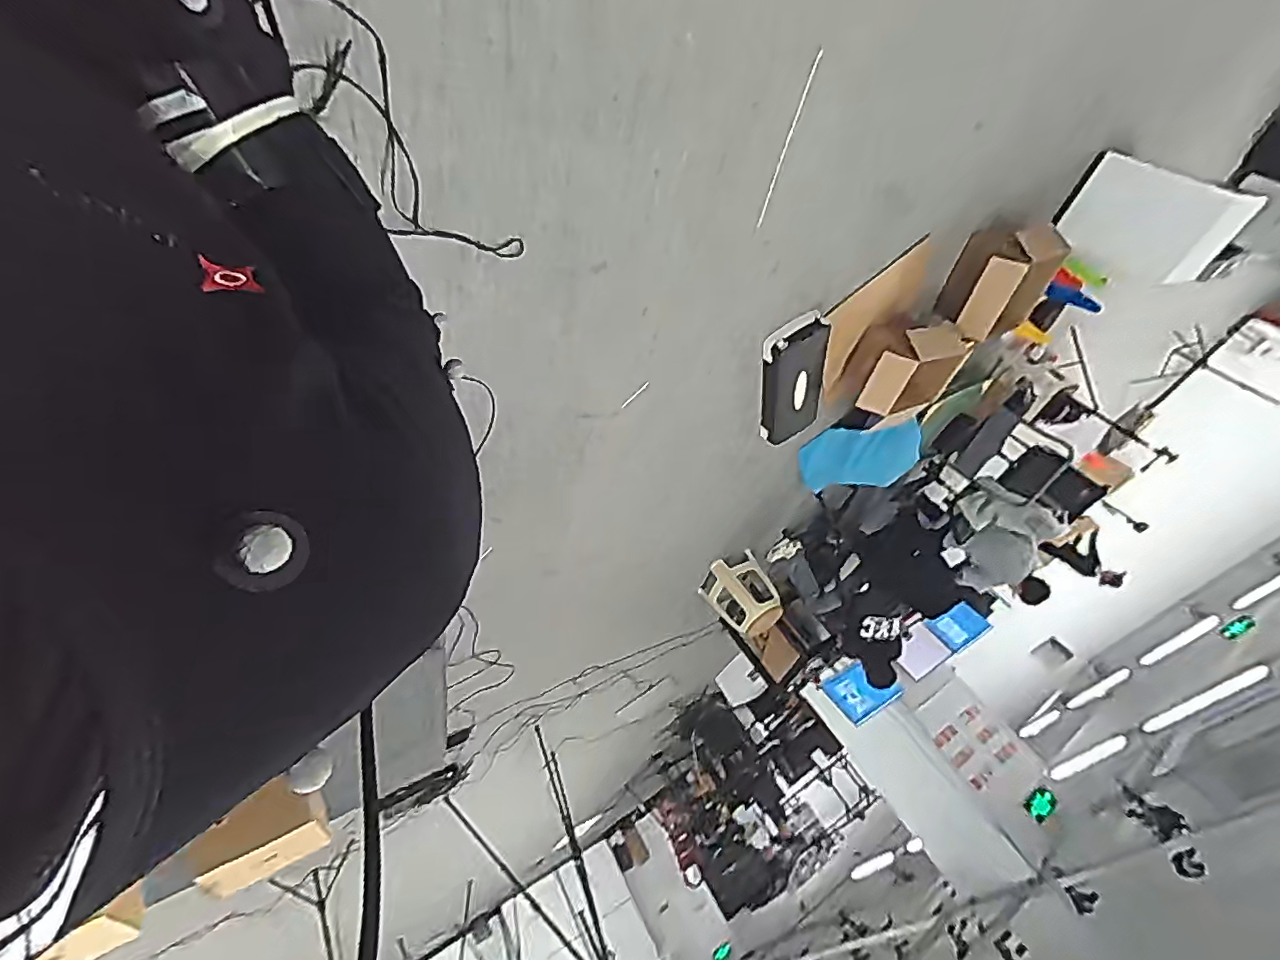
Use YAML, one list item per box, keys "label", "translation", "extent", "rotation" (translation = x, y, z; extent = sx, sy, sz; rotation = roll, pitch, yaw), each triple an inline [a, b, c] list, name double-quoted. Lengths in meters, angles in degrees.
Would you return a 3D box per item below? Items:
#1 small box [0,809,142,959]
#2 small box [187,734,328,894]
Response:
- label: "small box"
  translation: [-0.922, 0.653, 0.843]
  extent: [0.179, 0.176, 0.168]
  rotation: [-15, 141, -31]
- label: "small box"
  translation: [-0.706, 0.611, 1.000]
  extent: [0.179, 0.176, 0.168]
  rotation: [-18, 144, -30]
